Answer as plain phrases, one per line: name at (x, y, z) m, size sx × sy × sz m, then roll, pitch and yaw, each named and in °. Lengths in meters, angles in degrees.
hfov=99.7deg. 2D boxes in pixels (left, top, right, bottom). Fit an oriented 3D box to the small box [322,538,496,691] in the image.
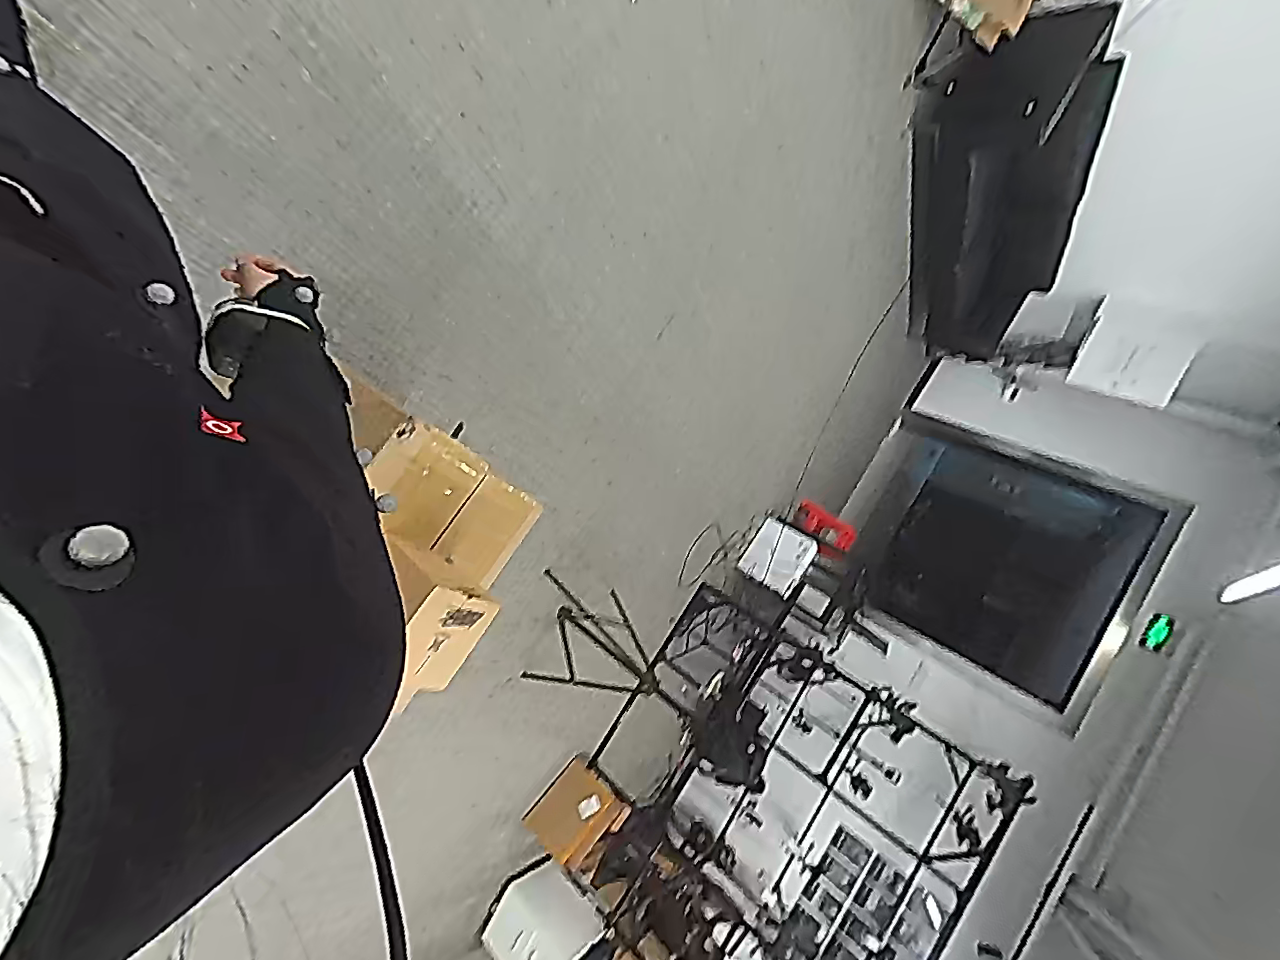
small box at (-0.387, 0.223, 0.905) m, size 0.179 × 0.176 × 0.168 m, roll -55°, pitch 147°, yaw -8°
